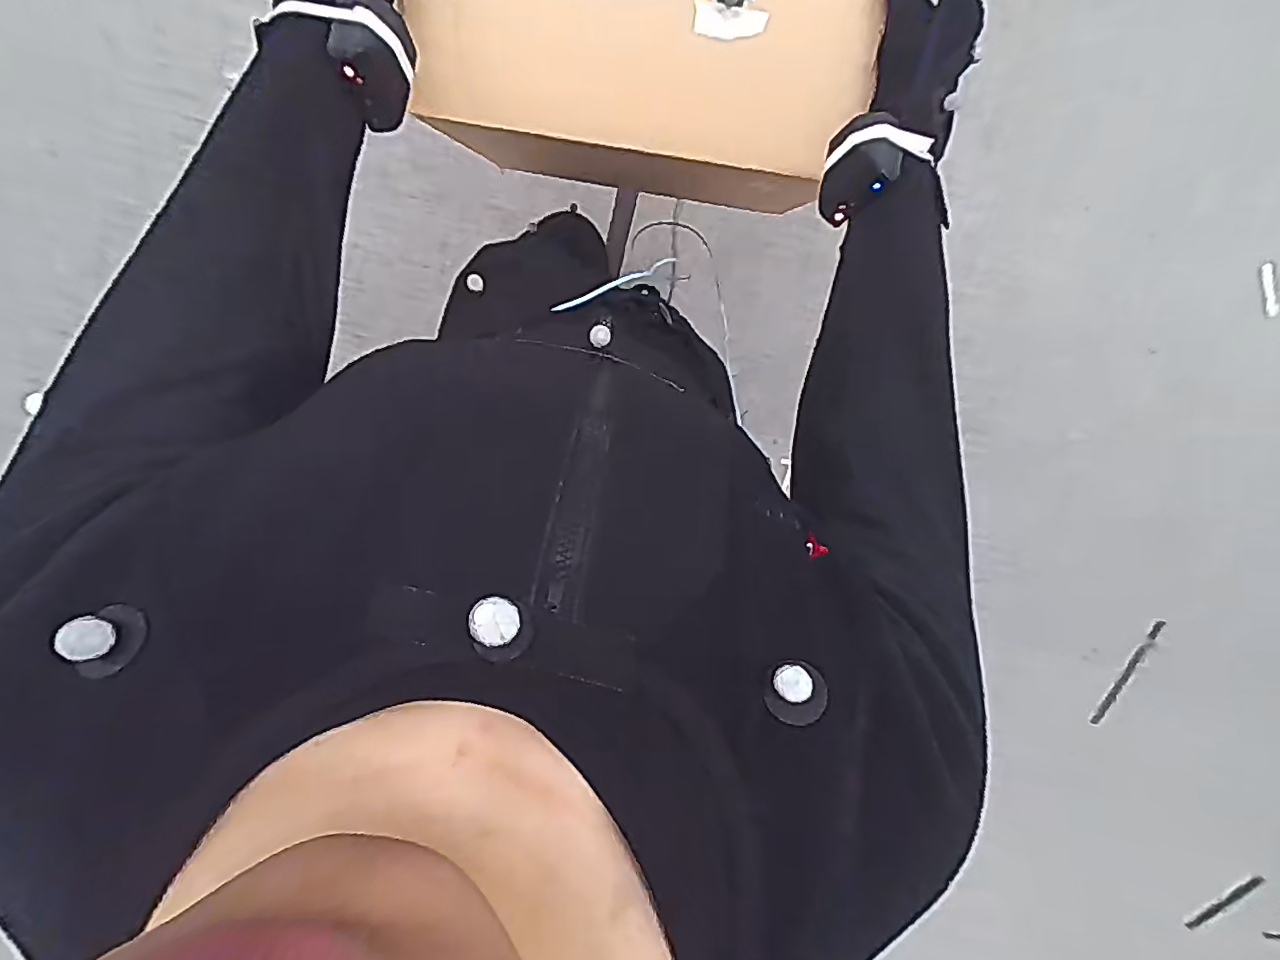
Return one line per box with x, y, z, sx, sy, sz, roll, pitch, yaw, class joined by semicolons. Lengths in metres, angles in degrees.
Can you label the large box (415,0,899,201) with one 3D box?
0.023;-0.502;0.561;0.408;0.320;0.320;9;113;-2;large box
